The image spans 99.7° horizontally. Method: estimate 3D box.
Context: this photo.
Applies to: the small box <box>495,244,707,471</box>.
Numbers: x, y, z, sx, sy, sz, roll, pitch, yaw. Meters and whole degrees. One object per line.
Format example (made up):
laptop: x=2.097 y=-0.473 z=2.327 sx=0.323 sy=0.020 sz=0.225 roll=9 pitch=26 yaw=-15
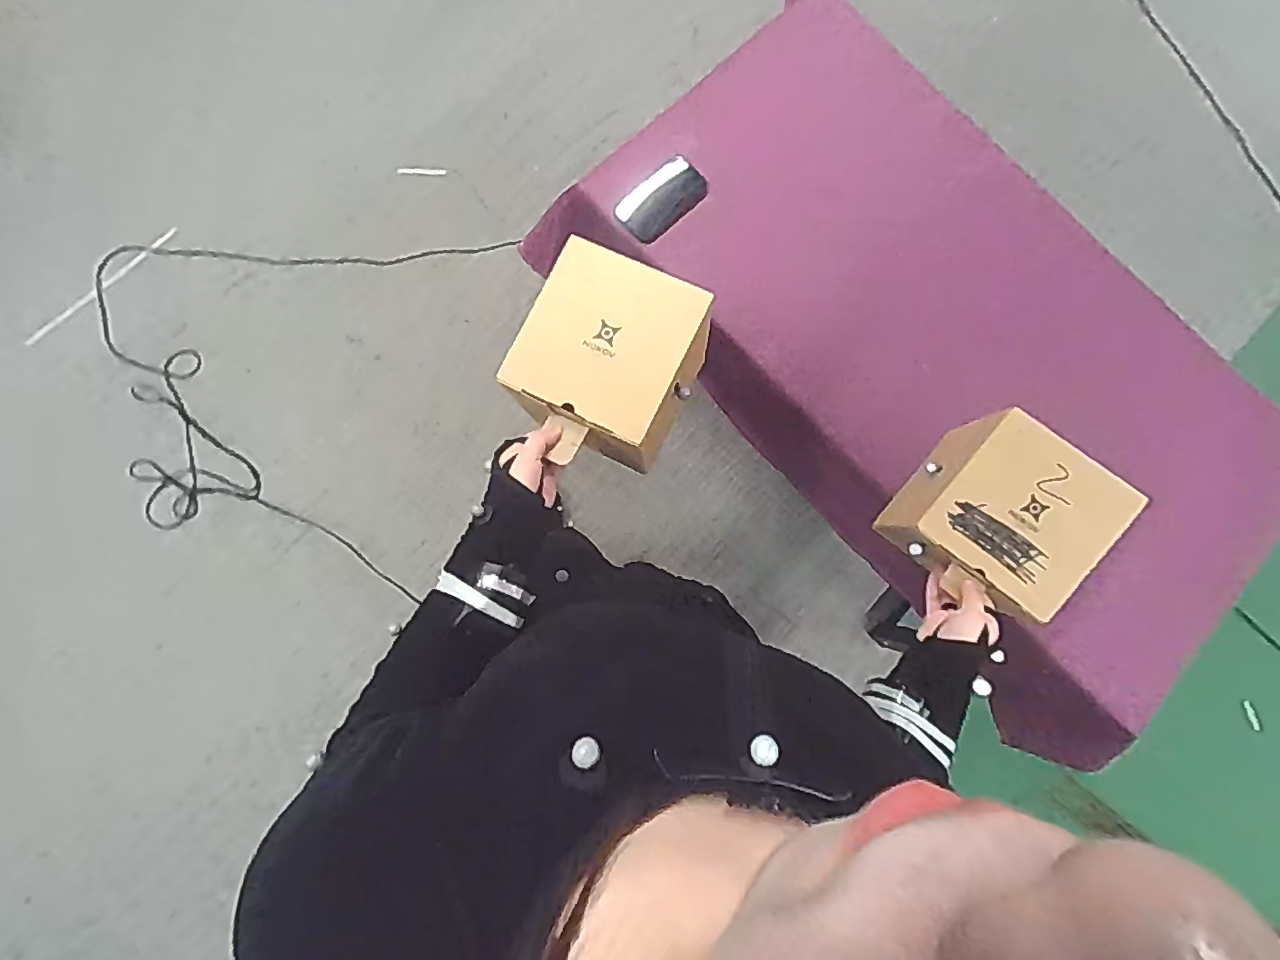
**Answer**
small box: x=-0.037 y=-0.129 z=0.631 sx=0.168 sy=0.176 sz=0.179 roll=25 pitch=84 yaw=7
